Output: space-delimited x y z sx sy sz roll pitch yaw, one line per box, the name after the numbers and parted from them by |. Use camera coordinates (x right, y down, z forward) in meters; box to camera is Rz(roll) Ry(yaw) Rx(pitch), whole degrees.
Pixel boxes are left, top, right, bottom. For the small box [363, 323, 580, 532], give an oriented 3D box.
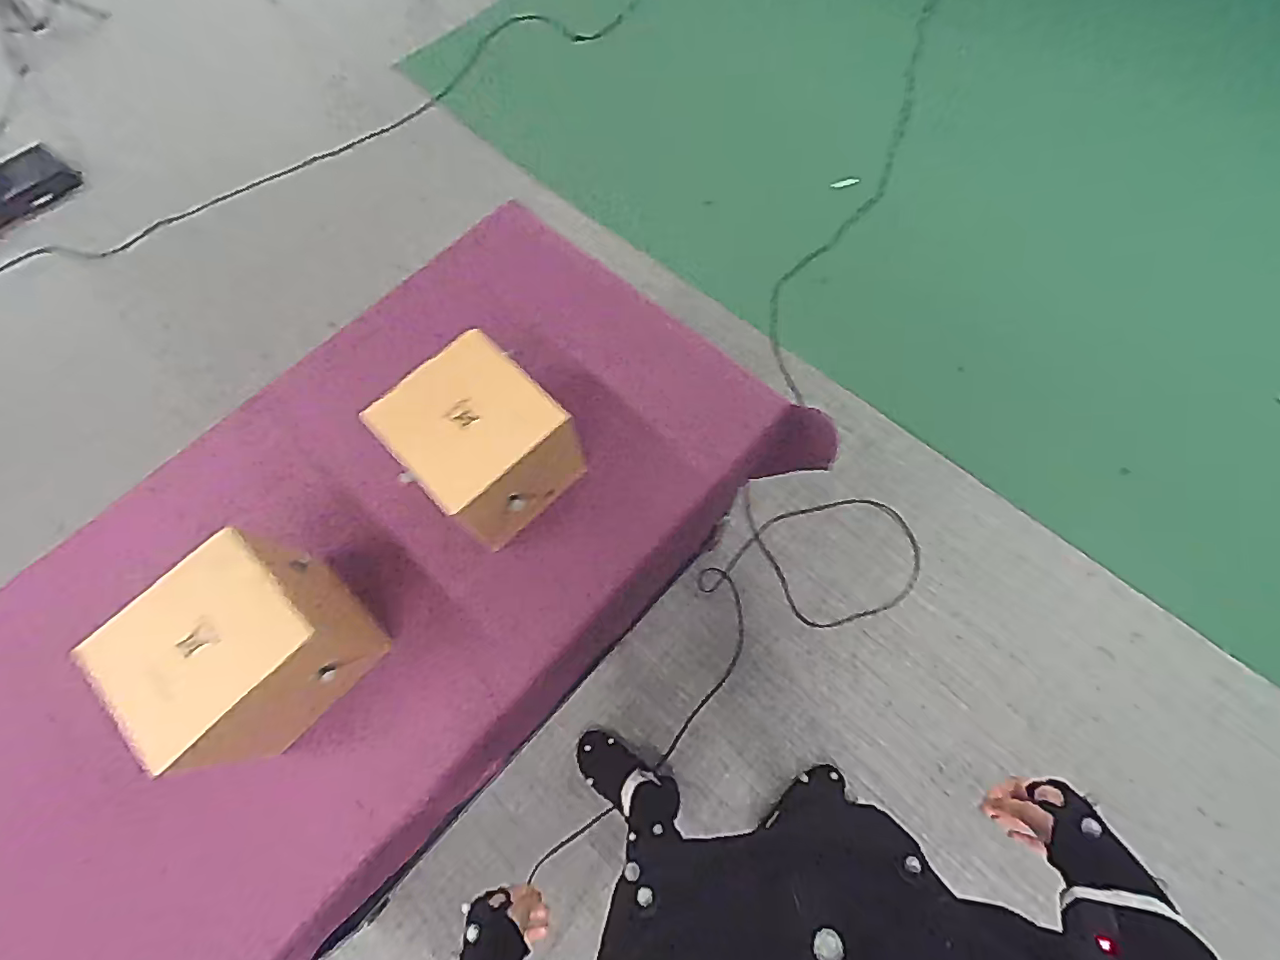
-0.196 -0.053 0.684 0.179 0.176 0.168 42 77 17 | small box

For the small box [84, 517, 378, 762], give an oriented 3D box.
-0.429 0.176 0.605 0.168 0.176 0.179 41 76 16 | small box
